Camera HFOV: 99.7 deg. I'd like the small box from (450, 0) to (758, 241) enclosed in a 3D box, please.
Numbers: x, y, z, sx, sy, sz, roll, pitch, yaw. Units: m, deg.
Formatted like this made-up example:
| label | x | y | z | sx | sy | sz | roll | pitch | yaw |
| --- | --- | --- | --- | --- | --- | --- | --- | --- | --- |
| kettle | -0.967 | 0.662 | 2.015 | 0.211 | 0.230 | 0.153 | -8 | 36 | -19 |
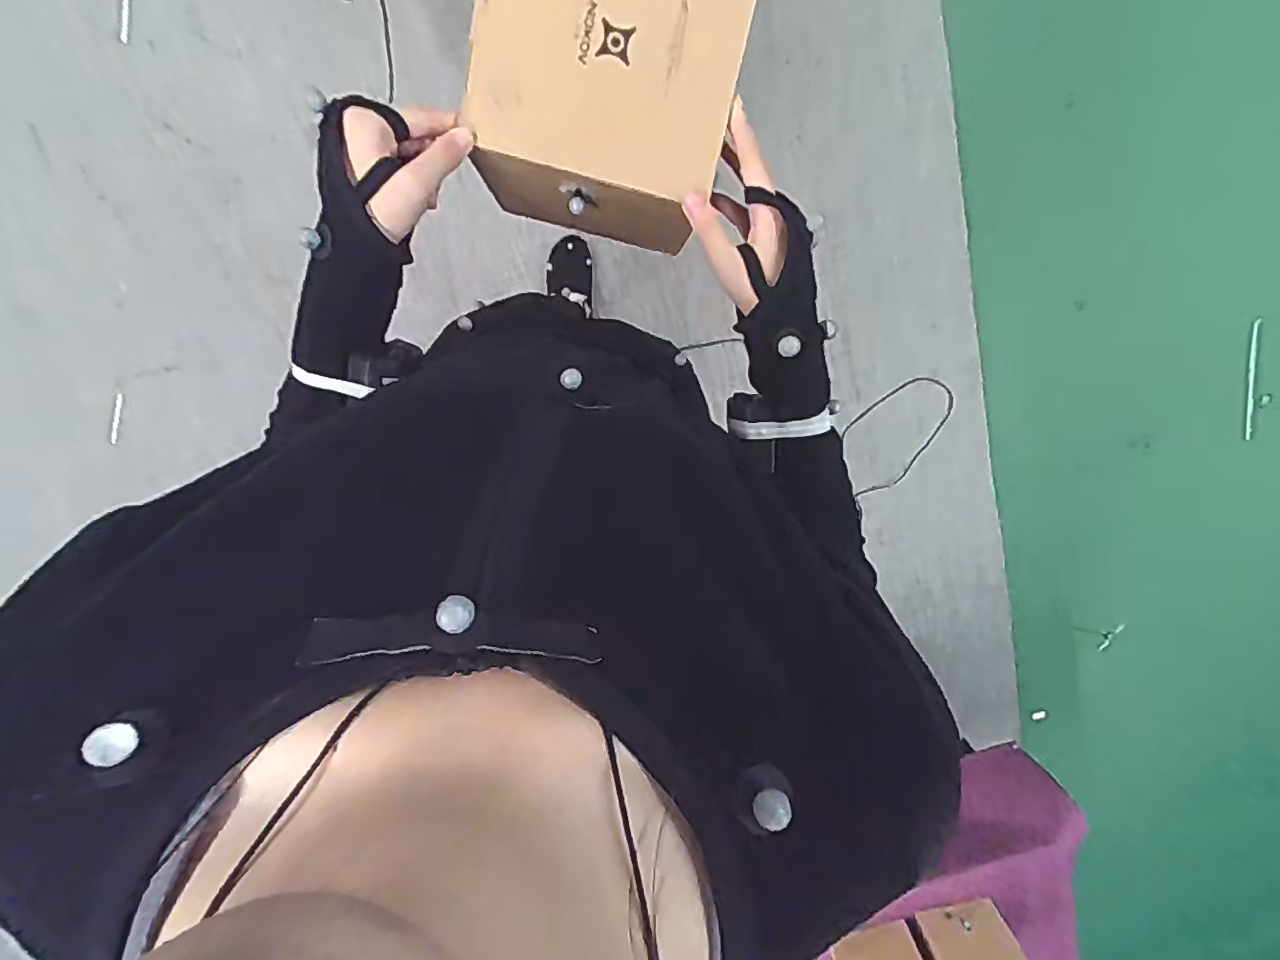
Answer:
| label | x | y | z | sx | sy | sz | roll | pitch | yaw |
| --- | --- | --- | --- | --- | --- | --- | --- | --- | --- |
| small box | -0.023 | -0.304 | 0.418 | 0.179 | 0.176 | 0.168 | 13 | 101 | -7 |
